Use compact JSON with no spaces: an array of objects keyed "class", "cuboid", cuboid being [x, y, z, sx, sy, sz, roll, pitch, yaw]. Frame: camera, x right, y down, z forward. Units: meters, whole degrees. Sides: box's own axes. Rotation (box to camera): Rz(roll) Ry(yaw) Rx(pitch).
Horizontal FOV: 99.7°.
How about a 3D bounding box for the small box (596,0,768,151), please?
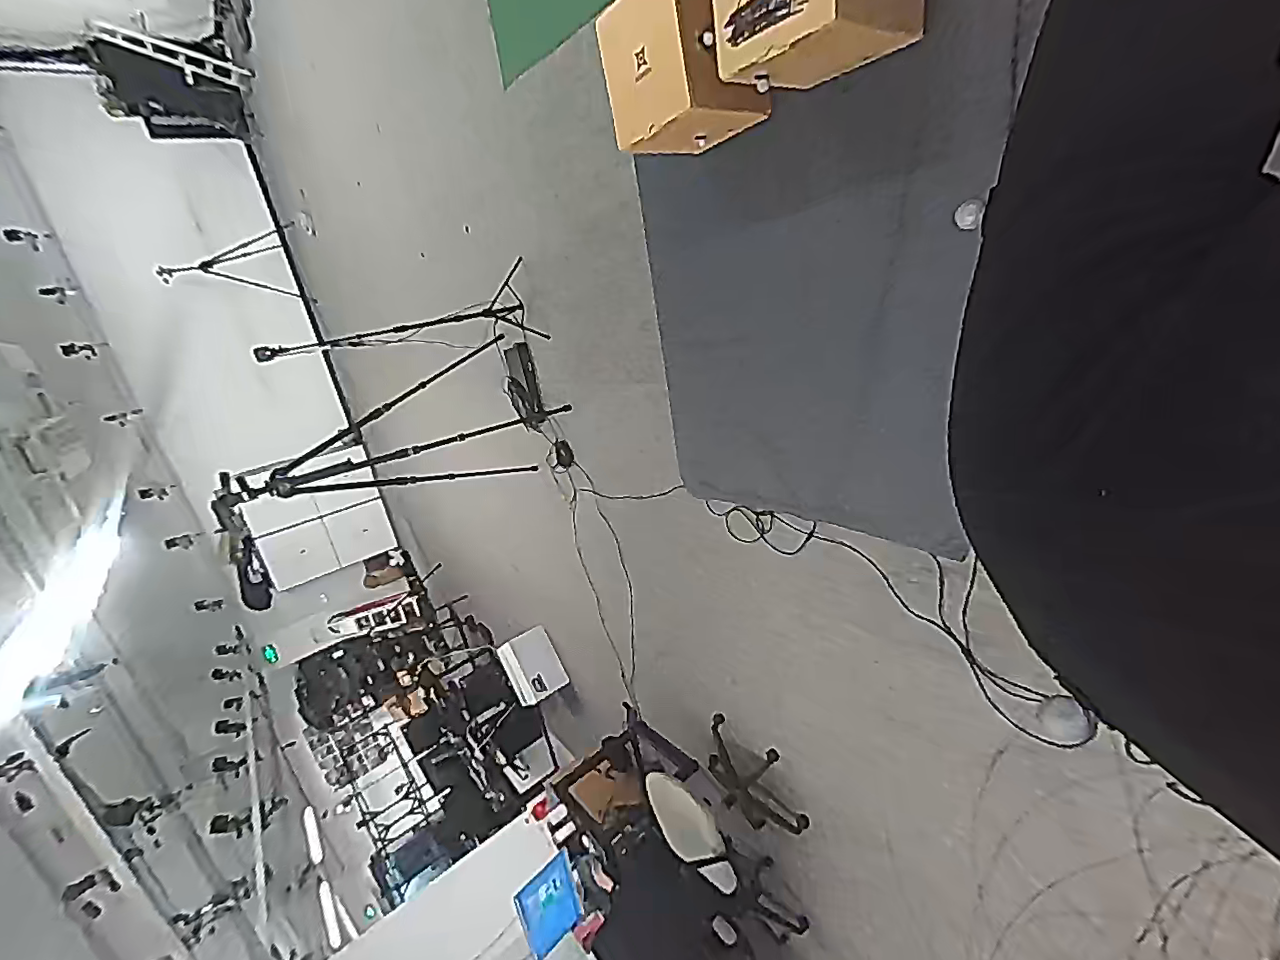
[{"class":"small box","cuboid":[0.065,-0.607,0.794,0.168,0.176,0.179,10,119,52]}]
